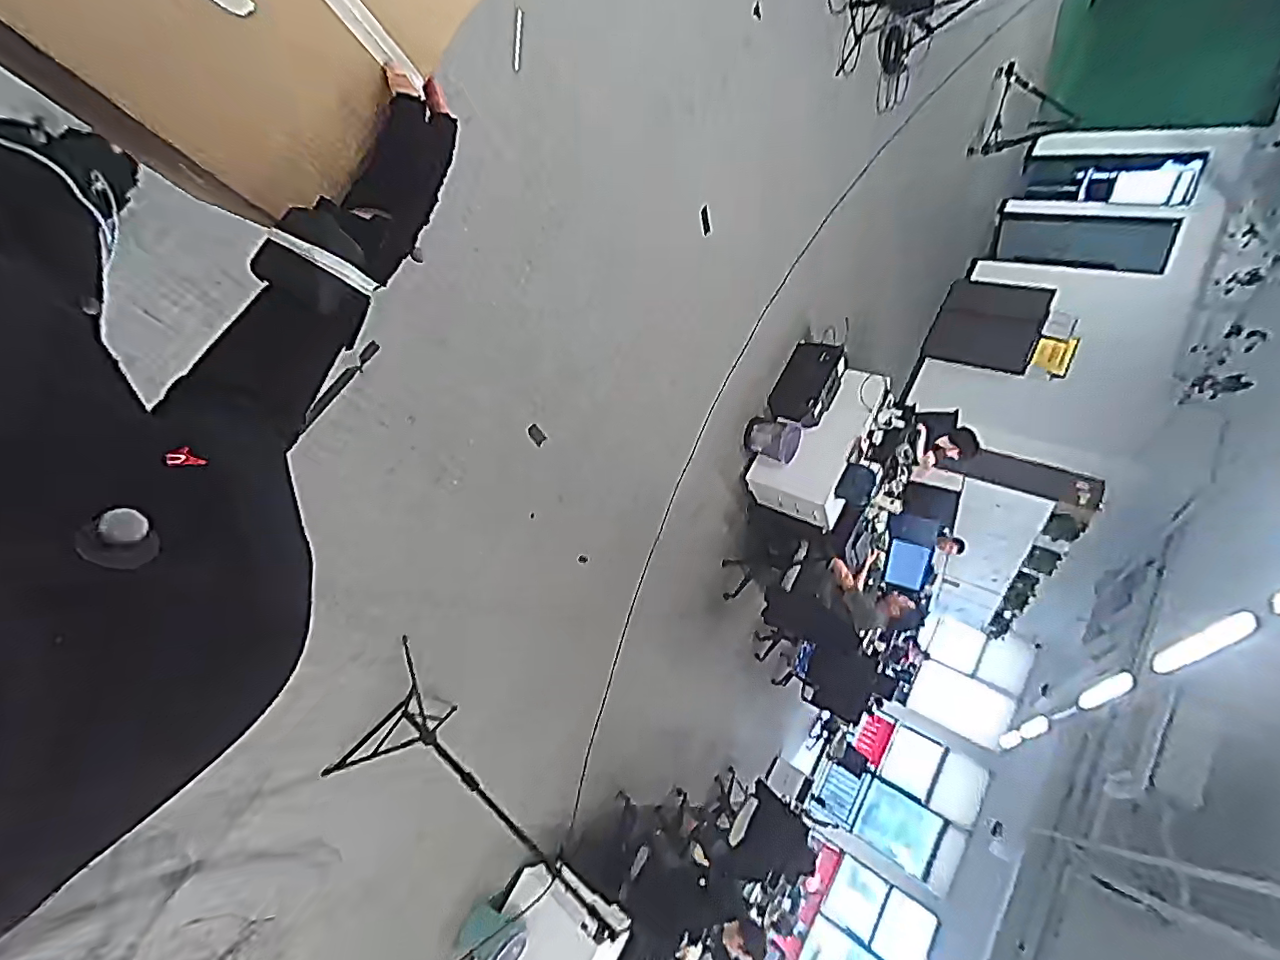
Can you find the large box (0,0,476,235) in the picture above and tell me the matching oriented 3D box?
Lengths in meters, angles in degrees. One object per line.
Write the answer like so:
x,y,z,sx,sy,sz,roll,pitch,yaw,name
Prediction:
-0.390,-0.453,0.375,0.320,0.320,0.408,-58,147,-4,large box
